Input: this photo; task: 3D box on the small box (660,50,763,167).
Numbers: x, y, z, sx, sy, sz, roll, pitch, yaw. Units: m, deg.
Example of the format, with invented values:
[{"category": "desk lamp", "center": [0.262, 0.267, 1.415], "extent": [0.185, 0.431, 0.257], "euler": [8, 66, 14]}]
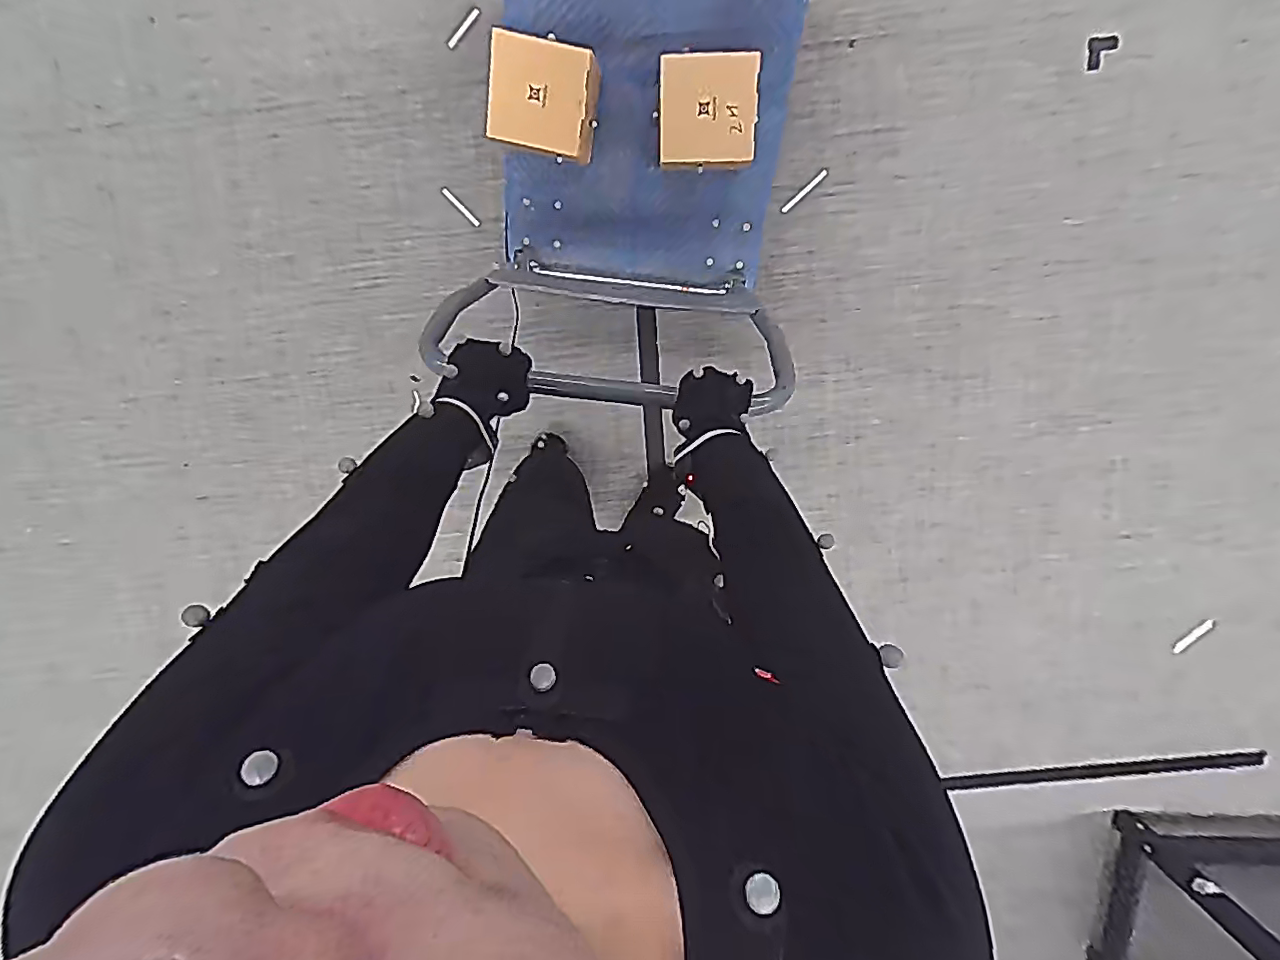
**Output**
[{"category": "small box", "center": [0.129, -0.701, 1.037], "extent": [0.179, 0.176, 0.168], "euler": [1, 116, 3]}]

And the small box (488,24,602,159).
[{"category": "small box", "center": [-0.178, -0.731, 1.039], "extent": [0.179, 0.176, 0.168], "euler": [11, 116, -4]}]
